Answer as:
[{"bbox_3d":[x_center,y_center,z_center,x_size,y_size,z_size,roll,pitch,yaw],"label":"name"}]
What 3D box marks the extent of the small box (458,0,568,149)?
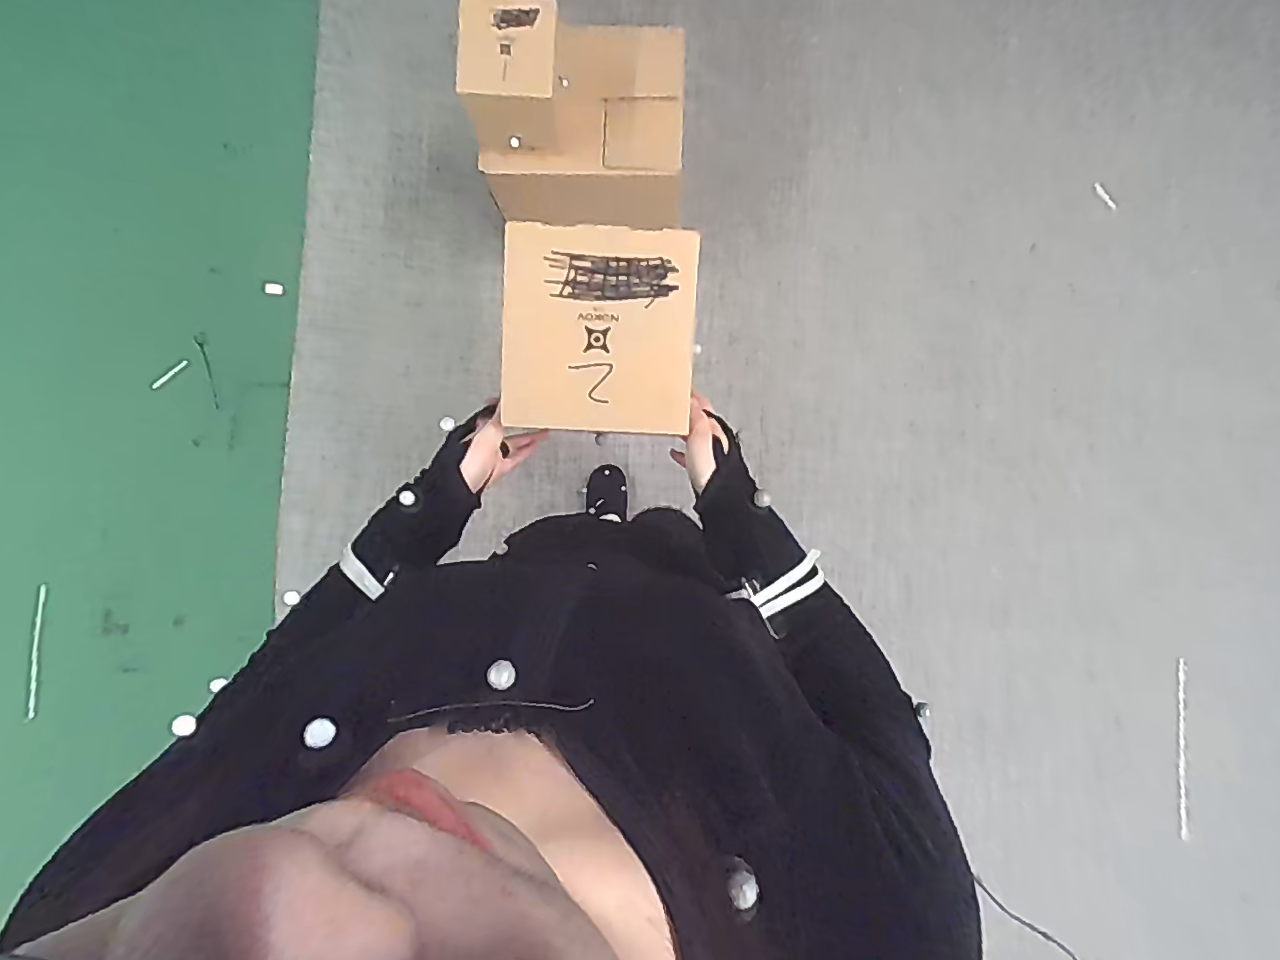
[{"bbox_3d":[-0.226,-0.753,0.998,0.168,0.176,0.179,3,91,-1],"label":"small box"}]
